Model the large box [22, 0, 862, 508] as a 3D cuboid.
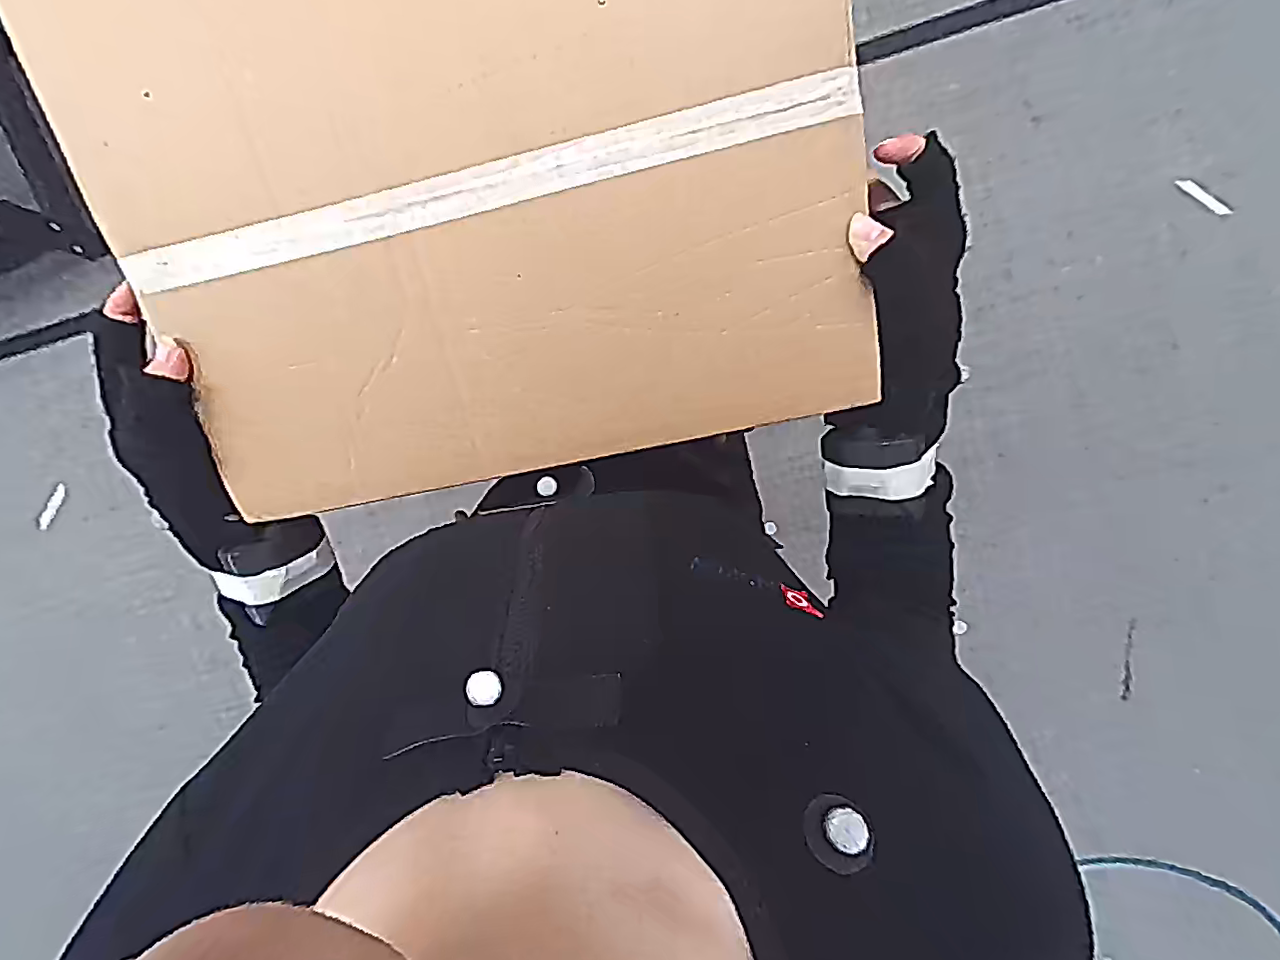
[{"bbox_3d":[-0.085,-0.209,0.436,0.408,0.320,0.320,-11,108,6],"label":"large box"}]
